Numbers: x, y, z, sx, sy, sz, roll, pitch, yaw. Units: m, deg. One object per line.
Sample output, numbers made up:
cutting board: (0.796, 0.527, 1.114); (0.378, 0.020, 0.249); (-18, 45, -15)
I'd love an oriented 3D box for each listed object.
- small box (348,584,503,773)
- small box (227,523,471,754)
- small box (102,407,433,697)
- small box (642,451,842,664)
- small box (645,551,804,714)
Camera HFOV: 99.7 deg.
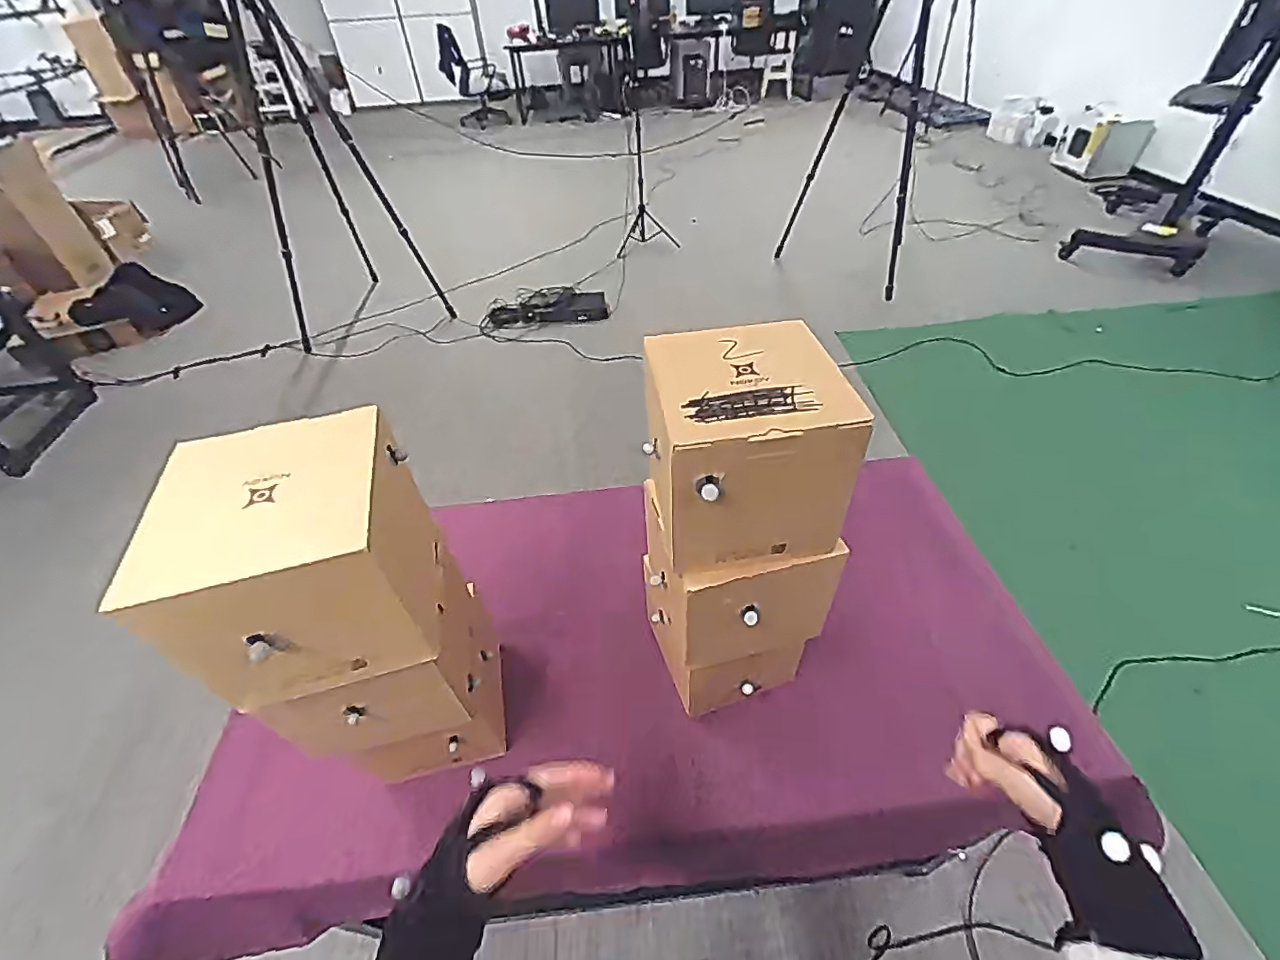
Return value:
small box: (-0.285, 0.272, 0.730); (0.168, 0.176, 0.179); (-10, 44, -7)
small box: (-0.292, 0.175, 0.596); (0.179, 0.176, 0.168); (-11, 45, -7)
small box: (-0.290, 0.067, 0.474); (0.168, 0.176, 0.179); (-13, 45, -10)
small box: (0.108, 0.094, 0.642); (0.179, 0.176, 0.168); (-12, 46, -7)
small box: (0.112, 0.197, 0.771); (0.168, 0.176, 0.179); (-16, 46, -10)
